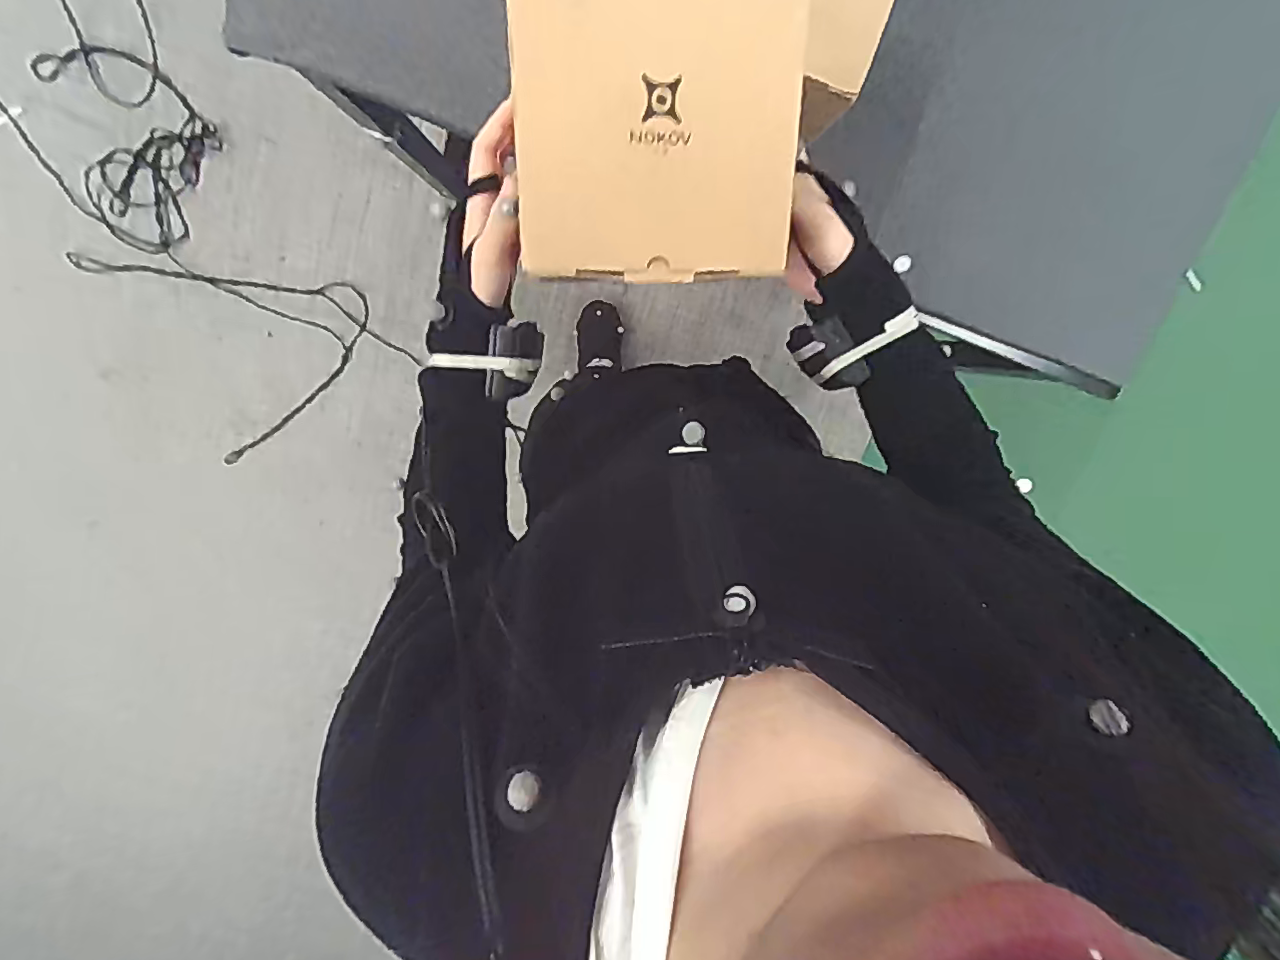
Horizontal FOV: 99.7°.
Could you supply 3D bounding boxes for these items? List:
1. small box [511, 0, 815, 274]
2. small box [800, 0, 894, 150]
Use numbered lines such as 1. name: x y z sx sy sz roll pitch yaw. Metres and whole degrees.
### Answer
1. small box: 0.002 -0.240 0.372 0.168 0.176 0.179 -2 110 -7
2. small box: 0.145 -0.473 0.549 0.168 0.176 0.179 17 102 -7
